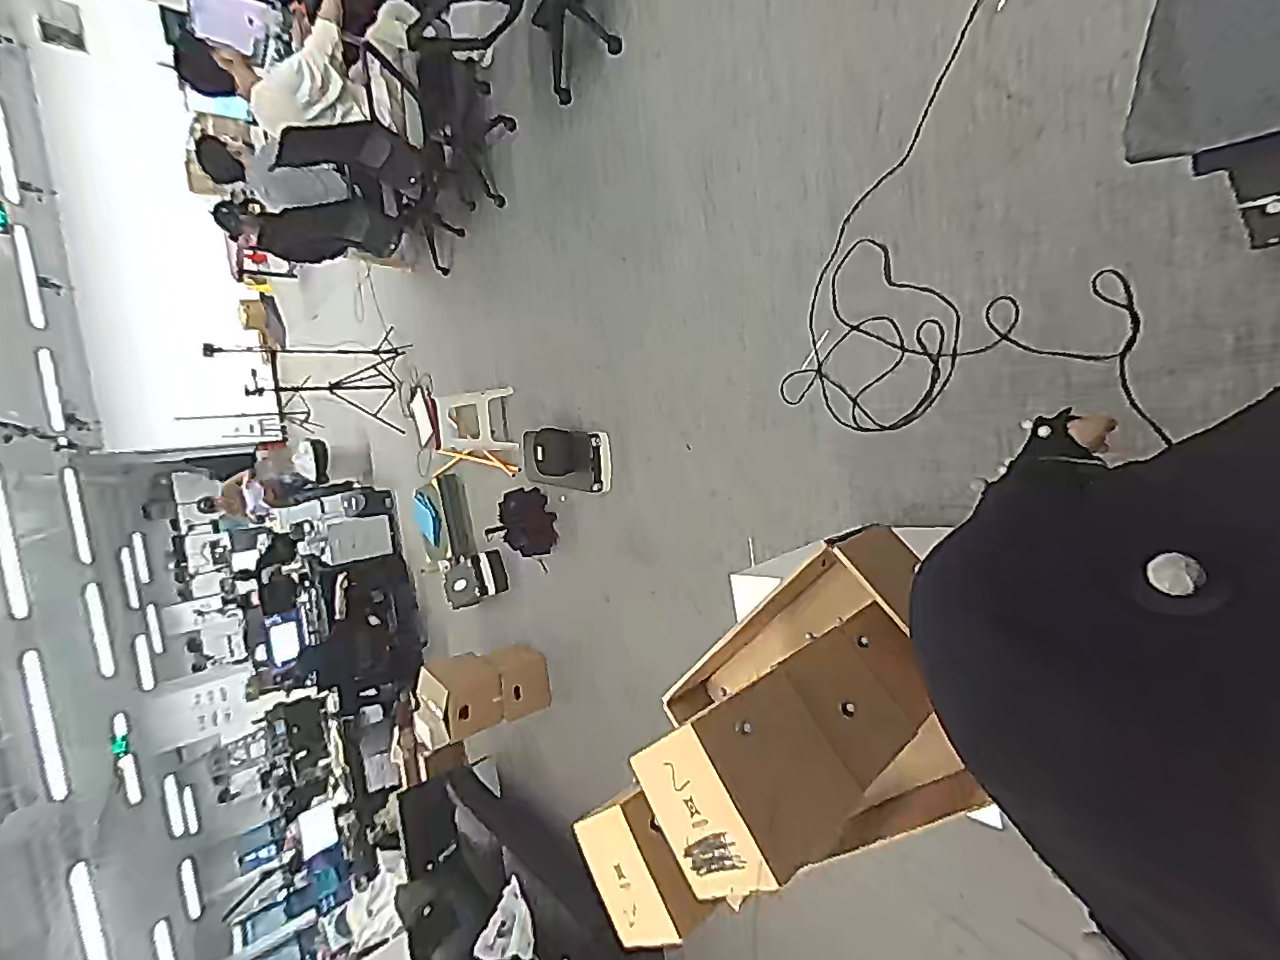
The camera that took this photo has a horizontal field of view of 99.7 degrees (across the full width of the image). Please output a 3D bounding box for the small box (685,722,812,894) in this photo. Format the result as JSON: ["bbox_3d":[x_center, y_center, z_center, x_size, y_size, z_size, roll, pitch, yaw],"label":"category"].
[{"bbox_3d":[0.179,0.541,0.934,0.179,0.176,0.168,29,120,40],"label":"small box"}]

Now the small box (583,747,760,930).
[{"bbox_3d":[0.046,0.540,0.833,0.179,0.176,0.168,58,136,21],"label":"small box"}]

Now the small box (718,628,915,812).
[{"bbox_3d":[0.255,0.339,0.792,0.179,0.176,0.168,55,137,24],"label":"small box"}]
